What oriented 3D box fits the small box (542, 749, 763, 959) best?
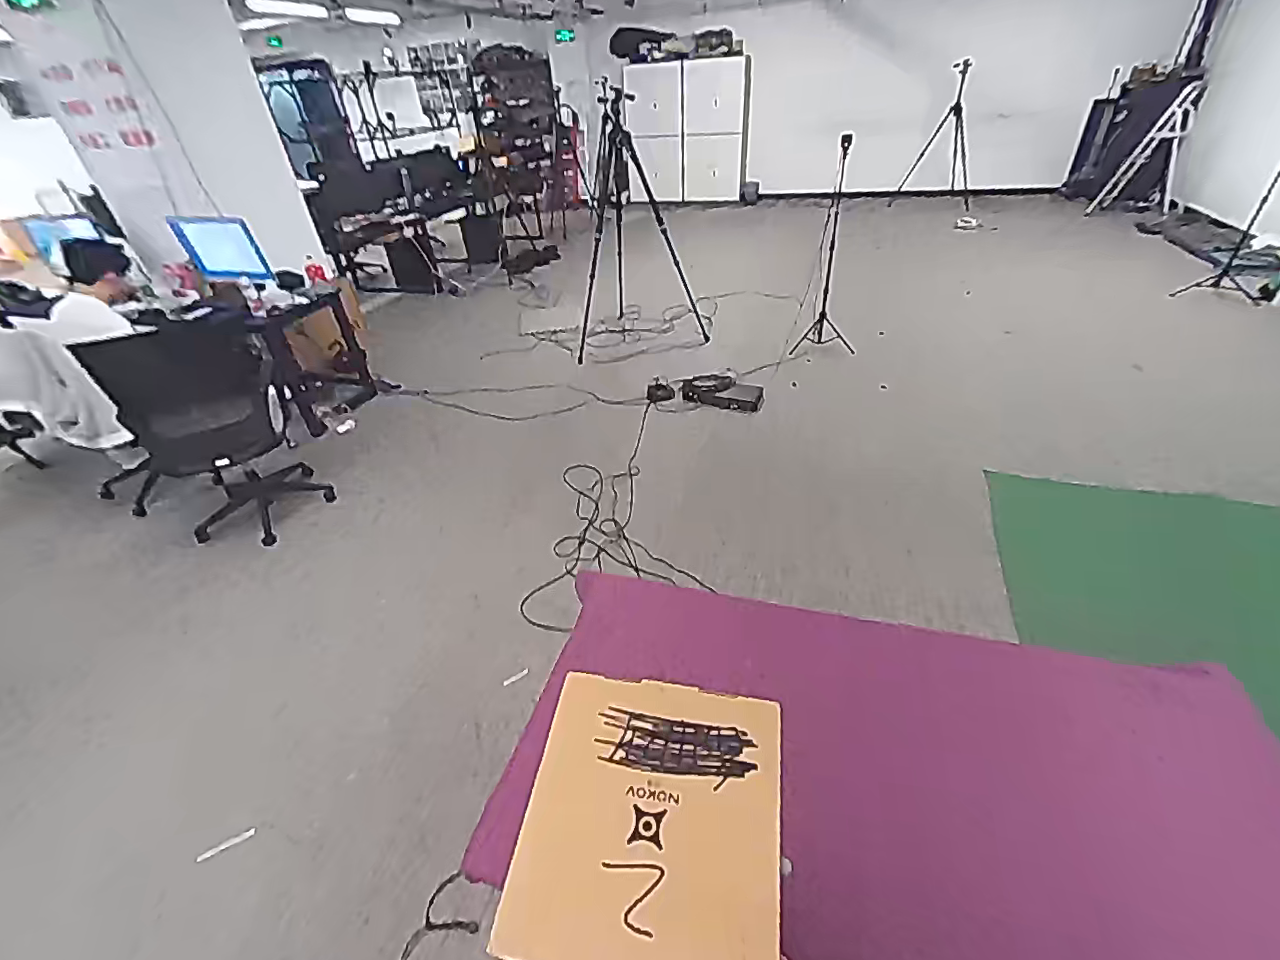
[{"bbox_3d":[0.024,0.390,0.513,0.168,0.176,0.179,5,43,11],"label":"small box"}]
